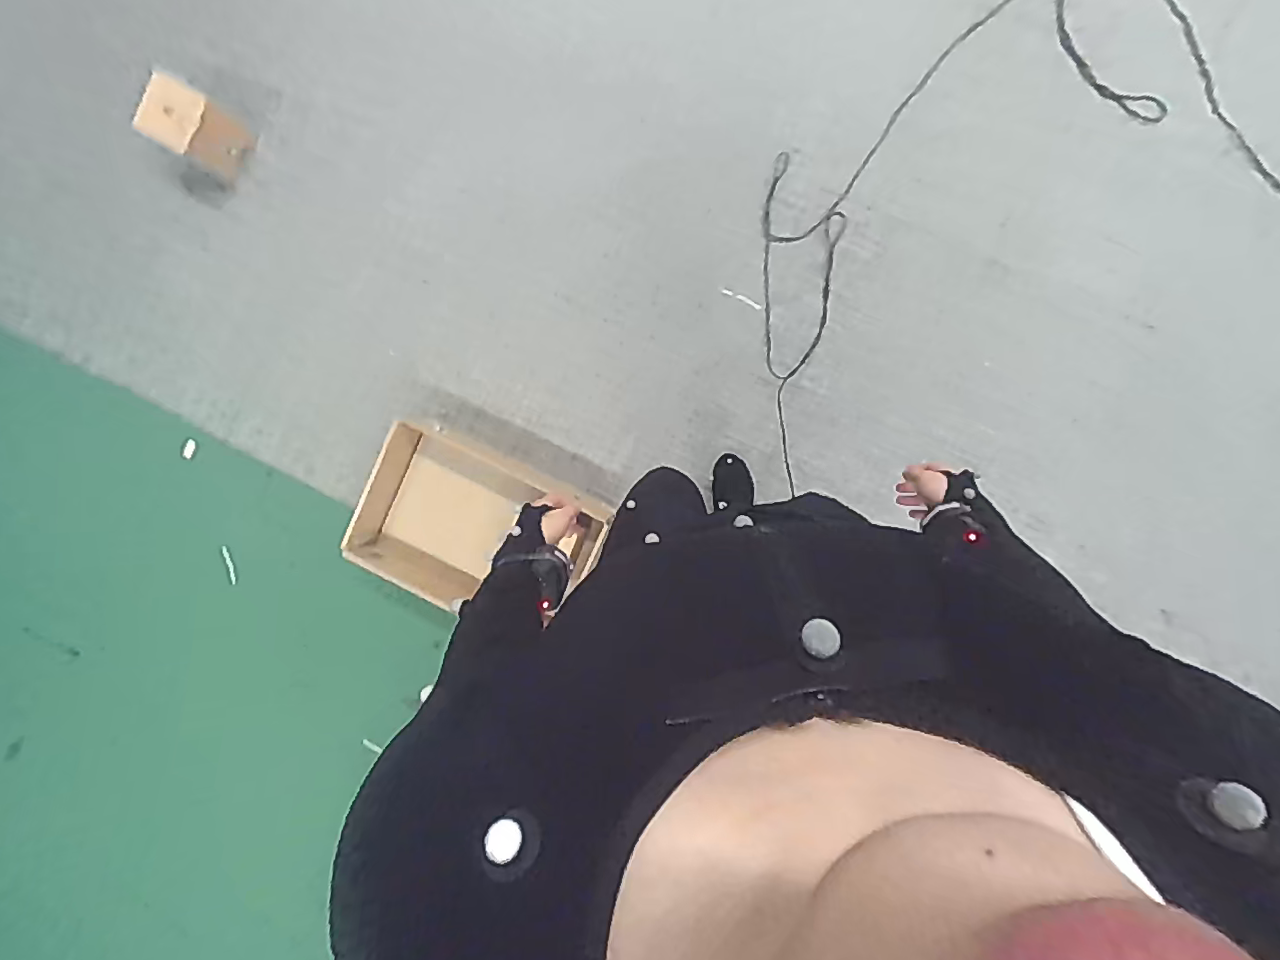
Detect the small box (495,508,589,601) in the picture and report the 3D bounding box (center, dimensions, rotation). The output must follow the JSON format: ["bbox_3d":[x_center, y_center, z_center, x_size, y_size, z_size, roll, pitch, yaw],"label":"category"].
[{"bbox_3d":[-0.244,0.185,1.400,0.168,0.176,0.179,23,94,5],"label":"small box"}]

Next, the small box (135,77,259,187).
[{"bbox_3d":[-1.224,-0.956,1.505,0.179,0.176,0.168,31,96,4],"label":"small box"}]
